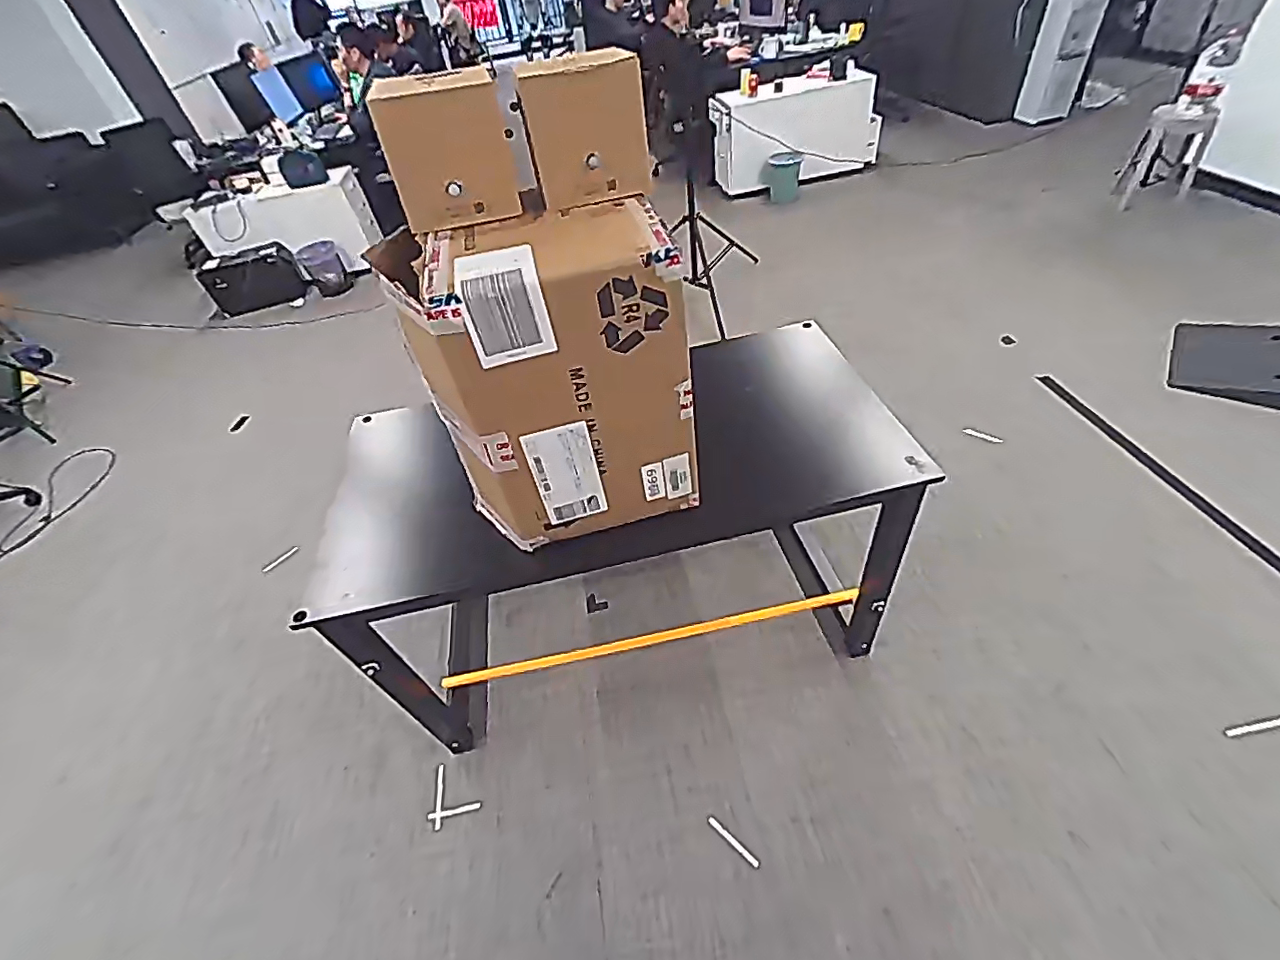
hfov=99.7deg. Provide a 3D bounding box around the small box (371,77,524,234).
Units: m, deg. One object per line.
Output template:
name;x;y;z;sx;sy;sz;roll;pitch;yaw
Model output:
small box;-0.279;-0.488;0.814;0.168;0.176;0.179;-14;43;-8

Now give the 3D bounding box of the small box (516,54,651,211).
small box;-0.086;-0.534;0.832;0.168;0.176;0.179;-14;43;-5
